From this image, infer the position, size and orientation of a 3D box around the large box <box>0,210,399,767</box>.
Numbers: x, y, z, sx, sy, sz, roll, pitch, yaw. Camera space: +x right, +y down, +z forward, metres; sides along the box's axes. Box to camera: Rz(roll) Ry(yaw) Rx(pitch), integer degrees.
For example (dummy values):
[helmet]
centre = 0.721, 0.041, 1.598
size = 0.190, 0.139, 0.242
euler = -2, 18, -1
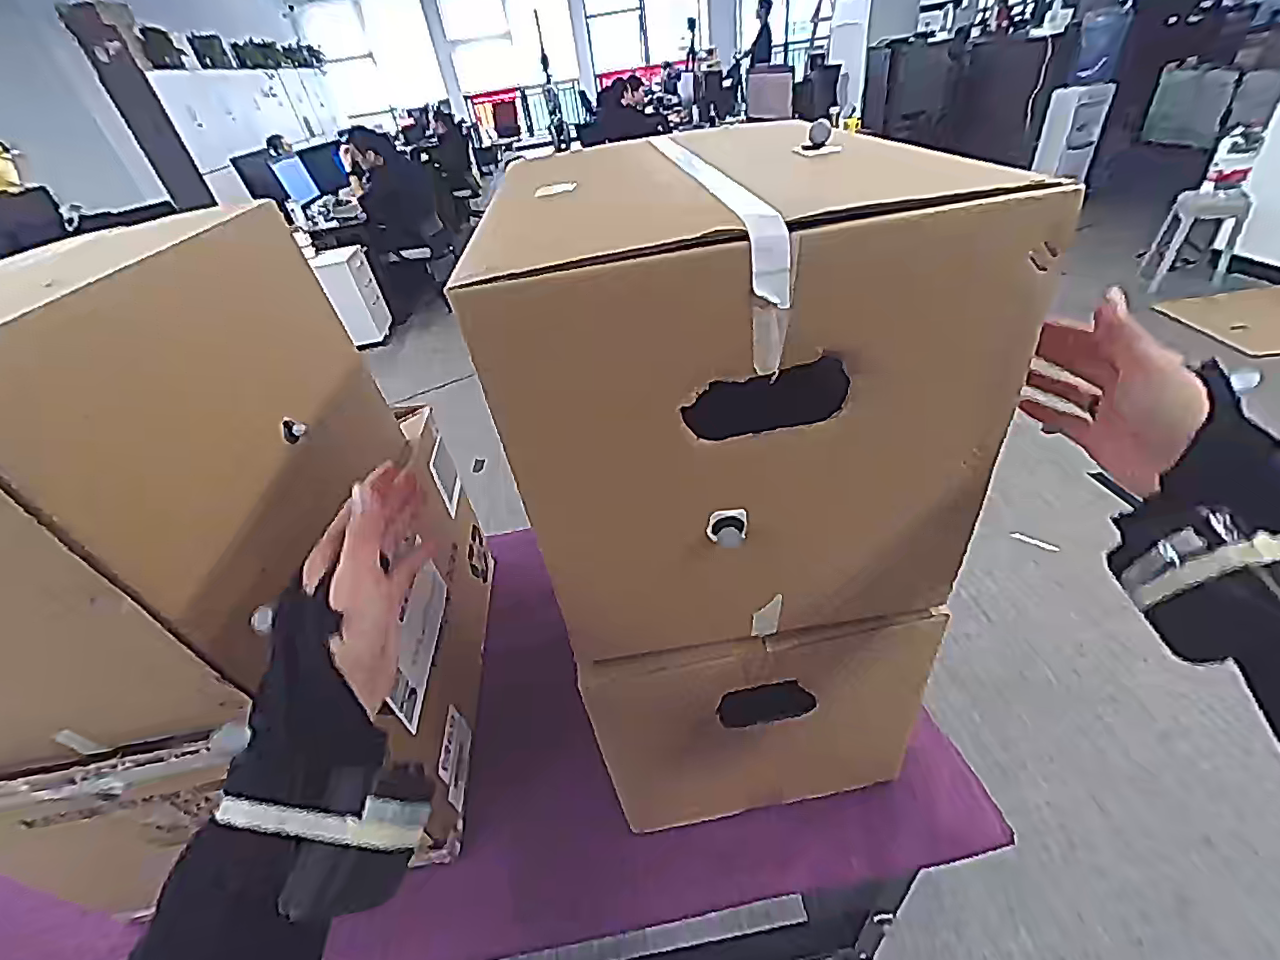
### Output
[large box]
centre = -0.478, -0.018, 0.510
size = 0.320, 0.320, 0.408
euler = -13, 38, 2
